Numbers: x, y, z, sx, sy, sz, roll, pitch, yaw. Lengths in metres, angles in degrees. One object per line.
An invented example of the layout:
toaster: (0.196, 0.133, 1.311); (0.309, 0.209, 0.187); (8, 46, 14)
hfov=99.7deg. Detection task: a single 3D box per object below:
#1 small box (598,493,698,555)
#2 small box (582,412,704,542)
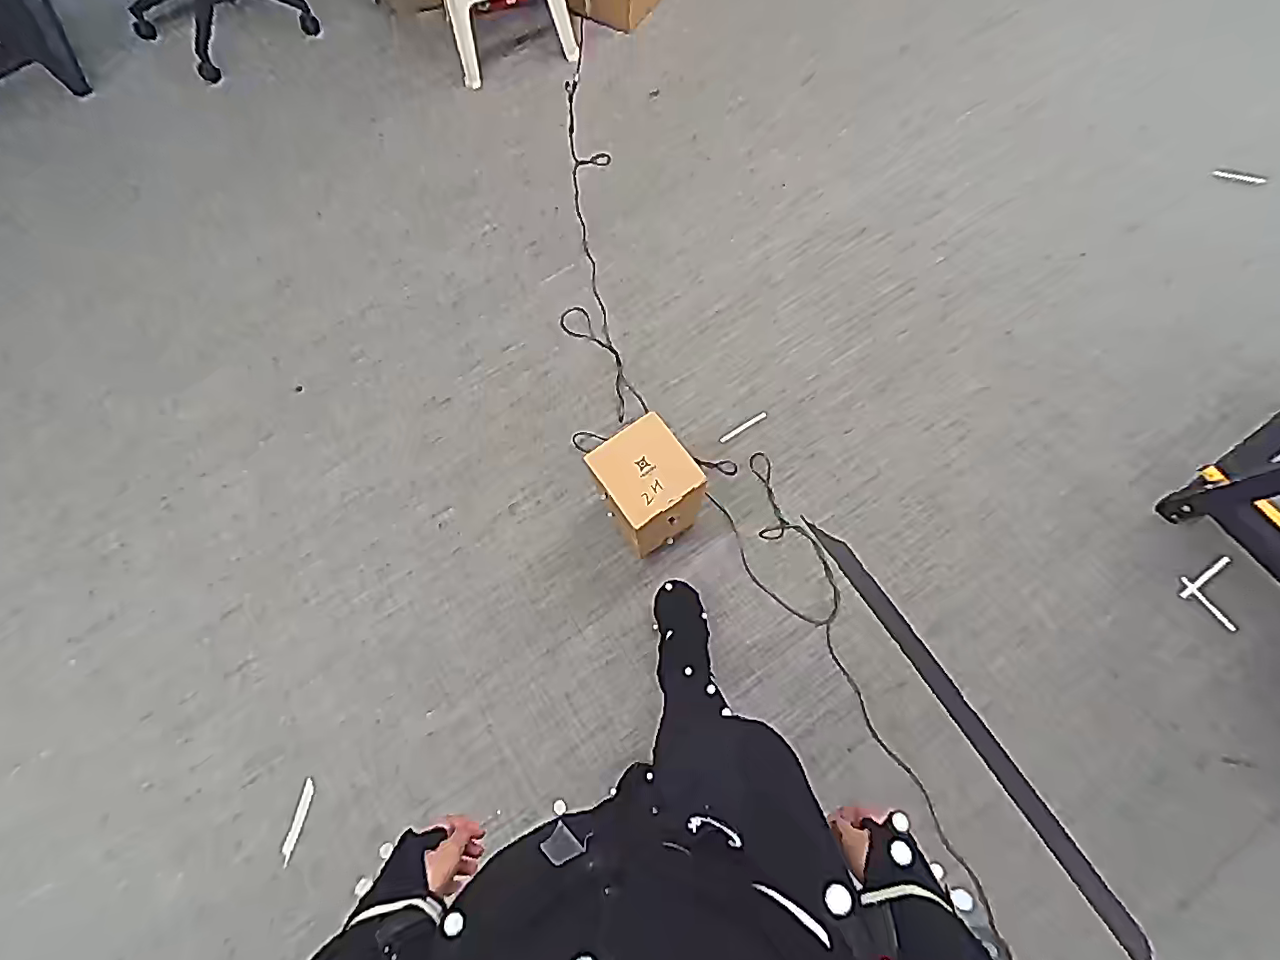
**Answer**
small box: (0.011, 0.051, 1.236); (0.168, 0.176, 0.179); (-33, 75, -8)
small box: (0.006, 0.003, 1.079); (0.168, 0.176, 0.179); (-34, 75, -7)
